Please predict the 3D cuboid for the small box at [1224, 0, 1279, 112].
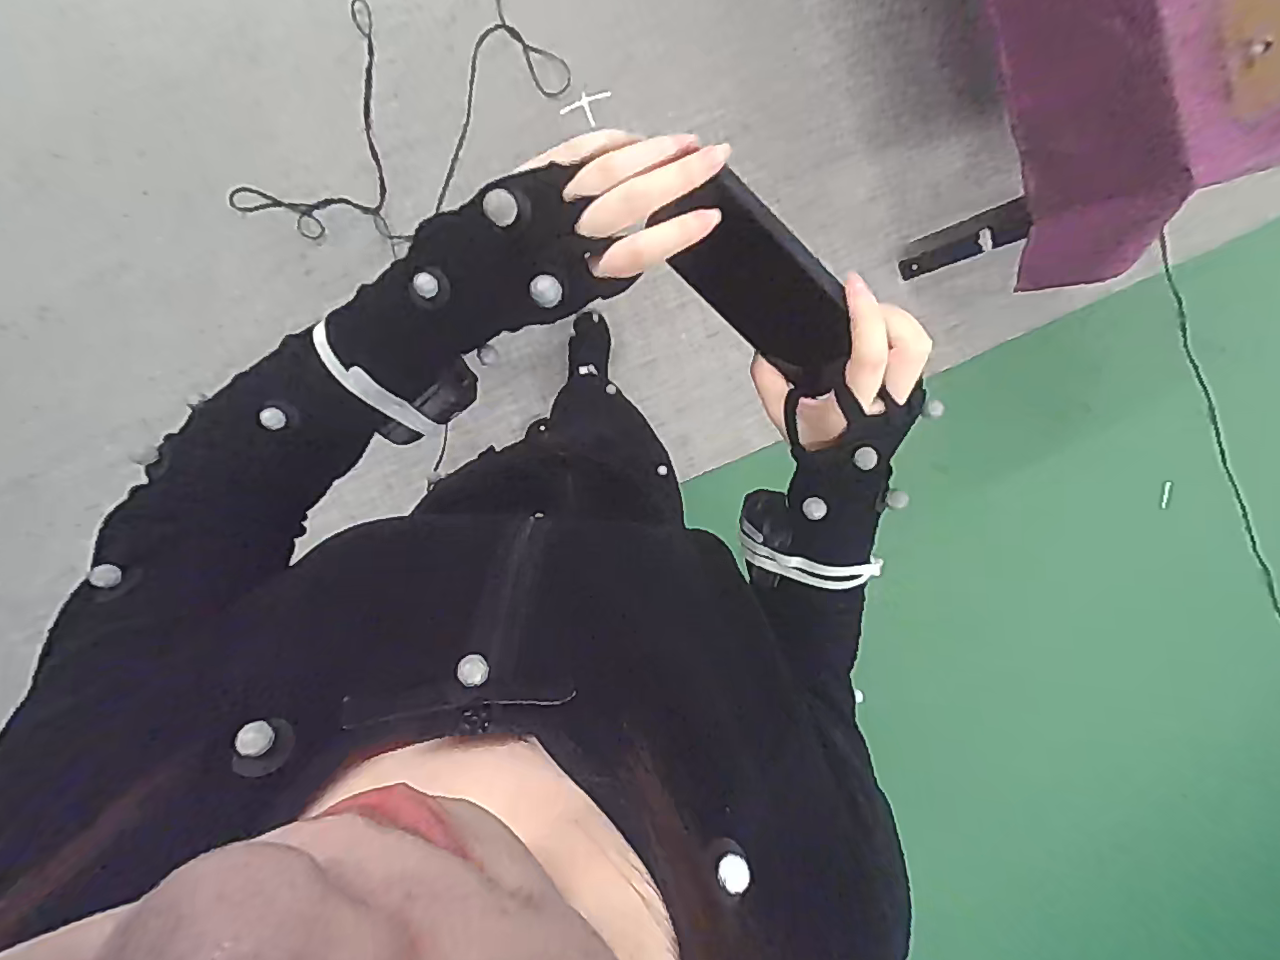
[{"bbox_3d":[0.943,-0.626,0.713,0.168,0.176,0.179,-24,102,-4],"label":"small box"}]
